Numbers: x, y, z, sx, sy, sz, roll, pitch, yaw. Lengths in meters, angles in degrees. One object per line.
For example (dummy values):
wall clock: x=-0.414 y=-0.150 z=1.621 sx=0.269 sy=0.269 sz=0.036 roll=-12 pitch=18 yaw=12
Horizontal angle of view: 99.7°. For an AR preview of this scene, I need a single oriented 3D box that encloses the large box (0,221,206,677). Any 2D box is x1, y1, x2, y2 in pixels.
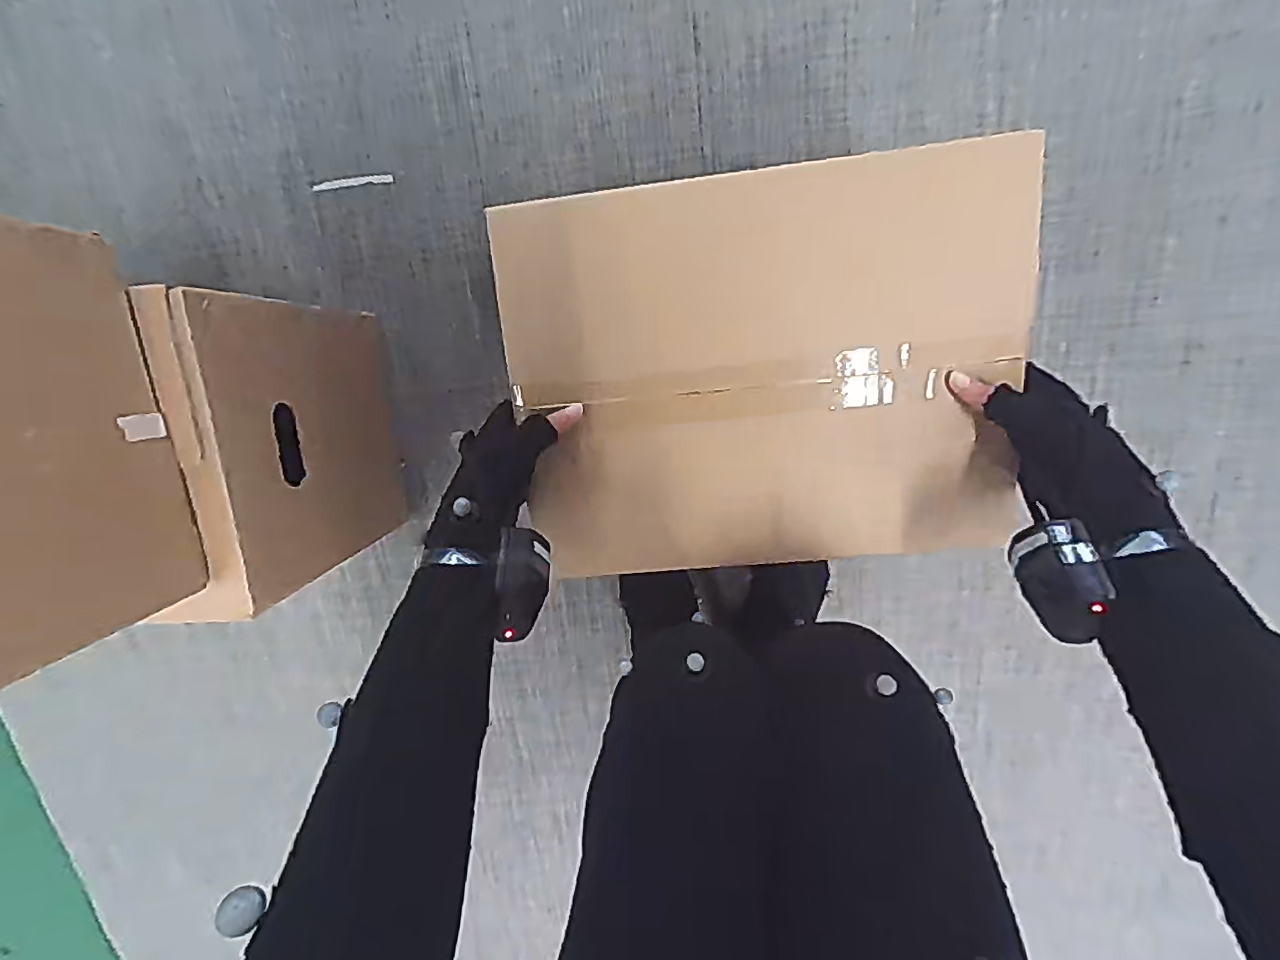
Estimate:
large box: x=-0.621 y=-0.005 z=0.351 sx=0.408 sy=0.320 sz=0.320 roll=-4 pitch=101 yaw=5
